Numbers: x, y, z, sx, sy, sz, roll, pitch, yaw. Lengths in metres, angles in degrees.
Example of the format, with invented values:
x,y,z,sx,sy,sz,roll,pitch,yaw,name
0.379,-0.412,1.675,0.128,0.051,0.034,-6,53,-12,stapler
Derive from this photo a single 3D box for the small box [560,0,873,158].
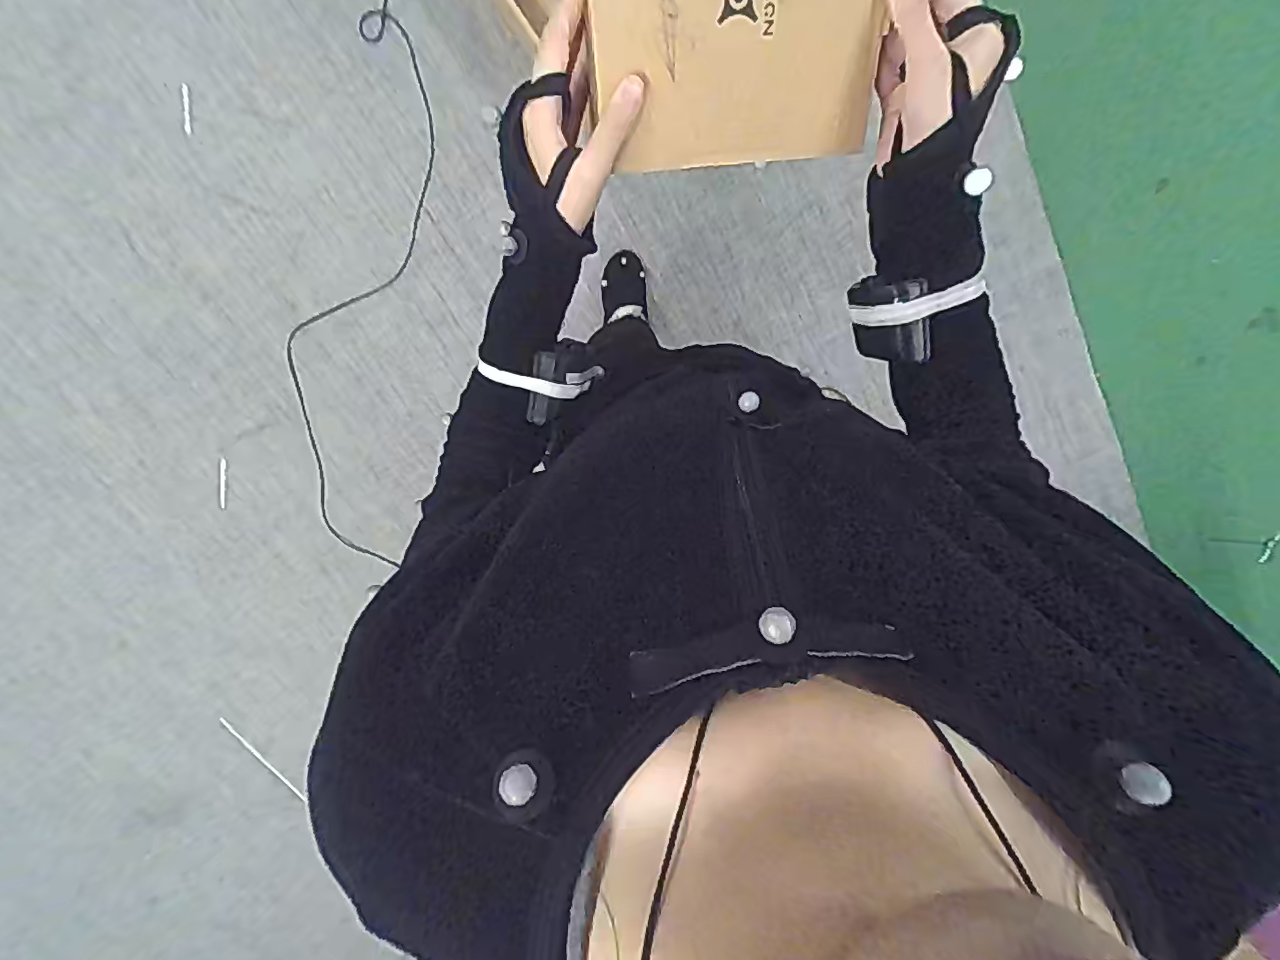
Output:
x,y,z,sx,sy,sz,roll,pitch,yaw,name
0.038,-0.325,0.362,0.179,0.176,0.168,-7,128,-5,small box

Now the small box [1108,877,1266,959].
x,y,z,sx,sy,sz,roll,pitch,yaw,name
1.040,0.908,1.021,0.179,0.176,0.168,-32,107,8,small box
